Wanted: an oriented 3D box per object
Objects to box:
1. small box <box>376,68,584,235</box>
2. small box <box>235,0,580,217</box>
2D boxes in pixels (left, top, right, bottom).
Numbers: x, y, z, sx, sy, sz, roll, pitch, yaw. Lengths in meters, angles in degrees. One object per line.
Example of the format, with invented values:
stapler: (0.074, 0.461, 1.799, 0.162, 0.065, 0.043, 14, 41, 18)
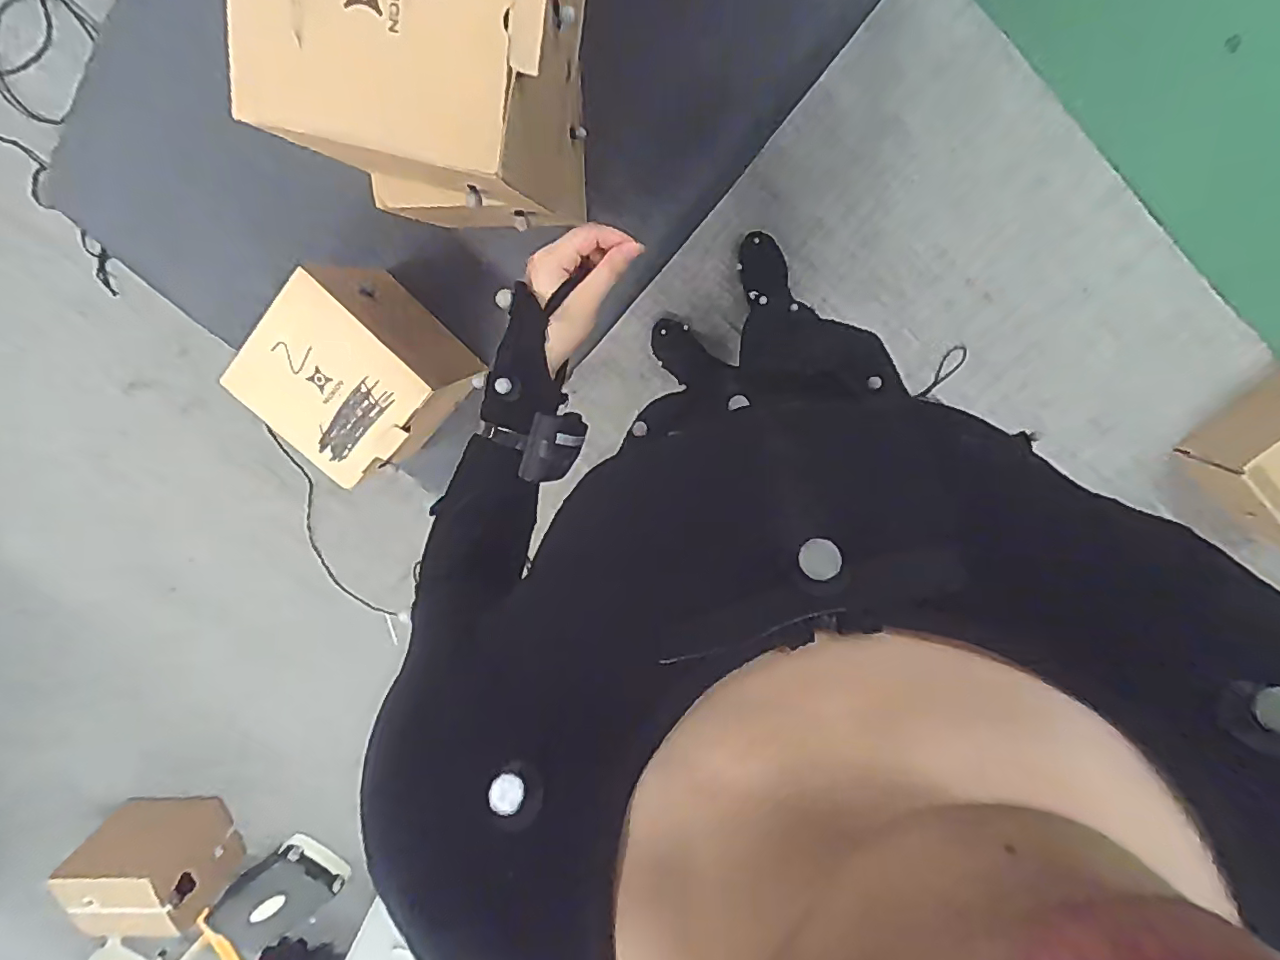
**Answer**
small box: (-0.154, -0.349, 0.551, 0.179, 0.176, 0.168, 0, 109, 4)
small box: (-0.149, -0.302, 0.394, 0.179, 0.176, 0.168, 12, 109, 1)
